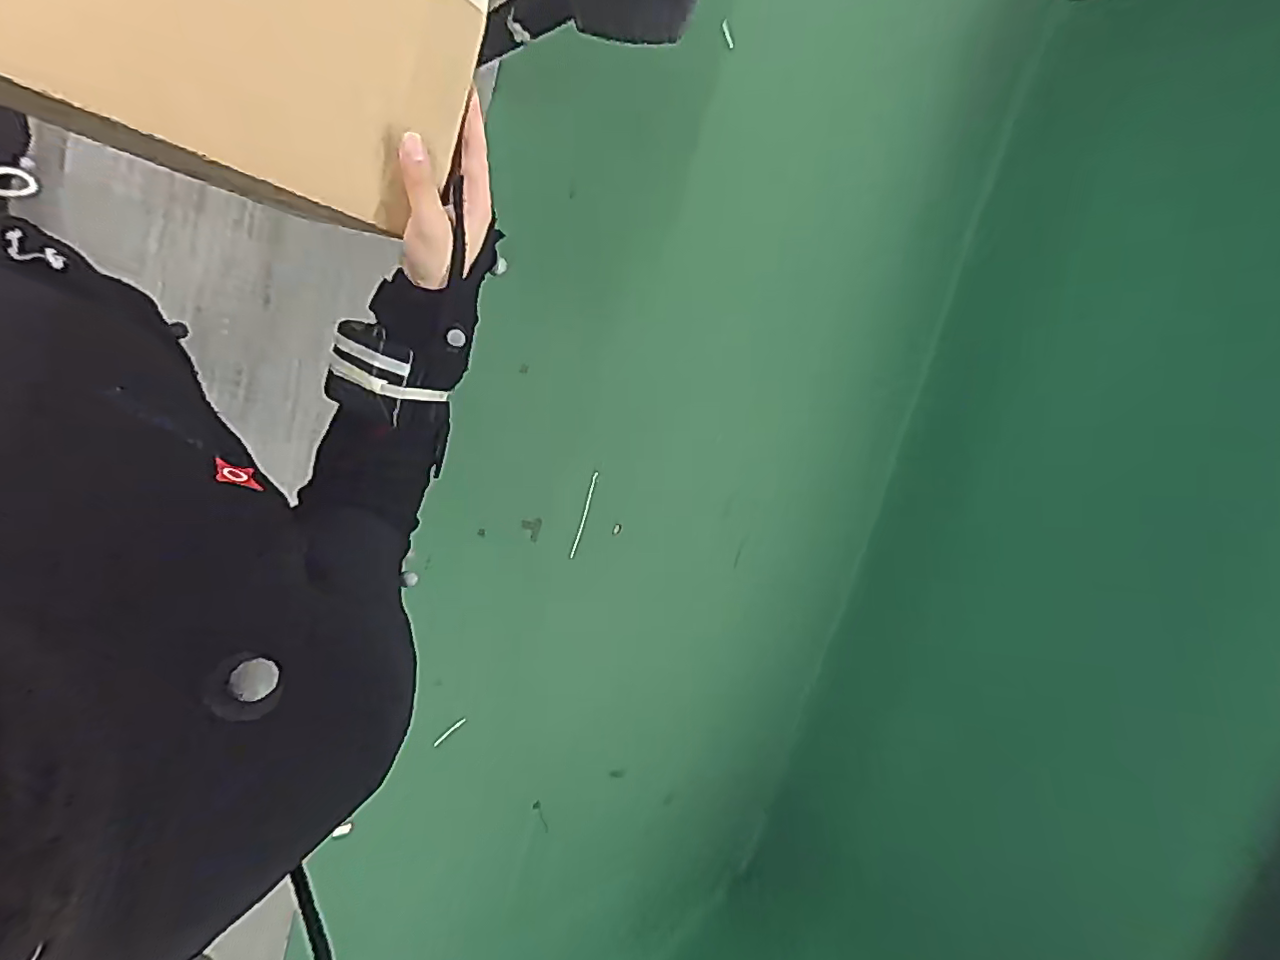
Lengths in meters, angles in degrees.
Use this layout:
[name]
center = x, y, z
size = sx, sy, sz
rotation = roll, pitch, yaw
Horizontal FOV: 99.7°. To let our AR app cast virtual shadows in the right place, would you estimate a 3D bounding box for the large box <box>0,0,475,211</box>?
[large box]
center = -0.337, -0.392, 0.298
size = 0.408, 0.320, 0.320
rotation = 5, 109, -48
